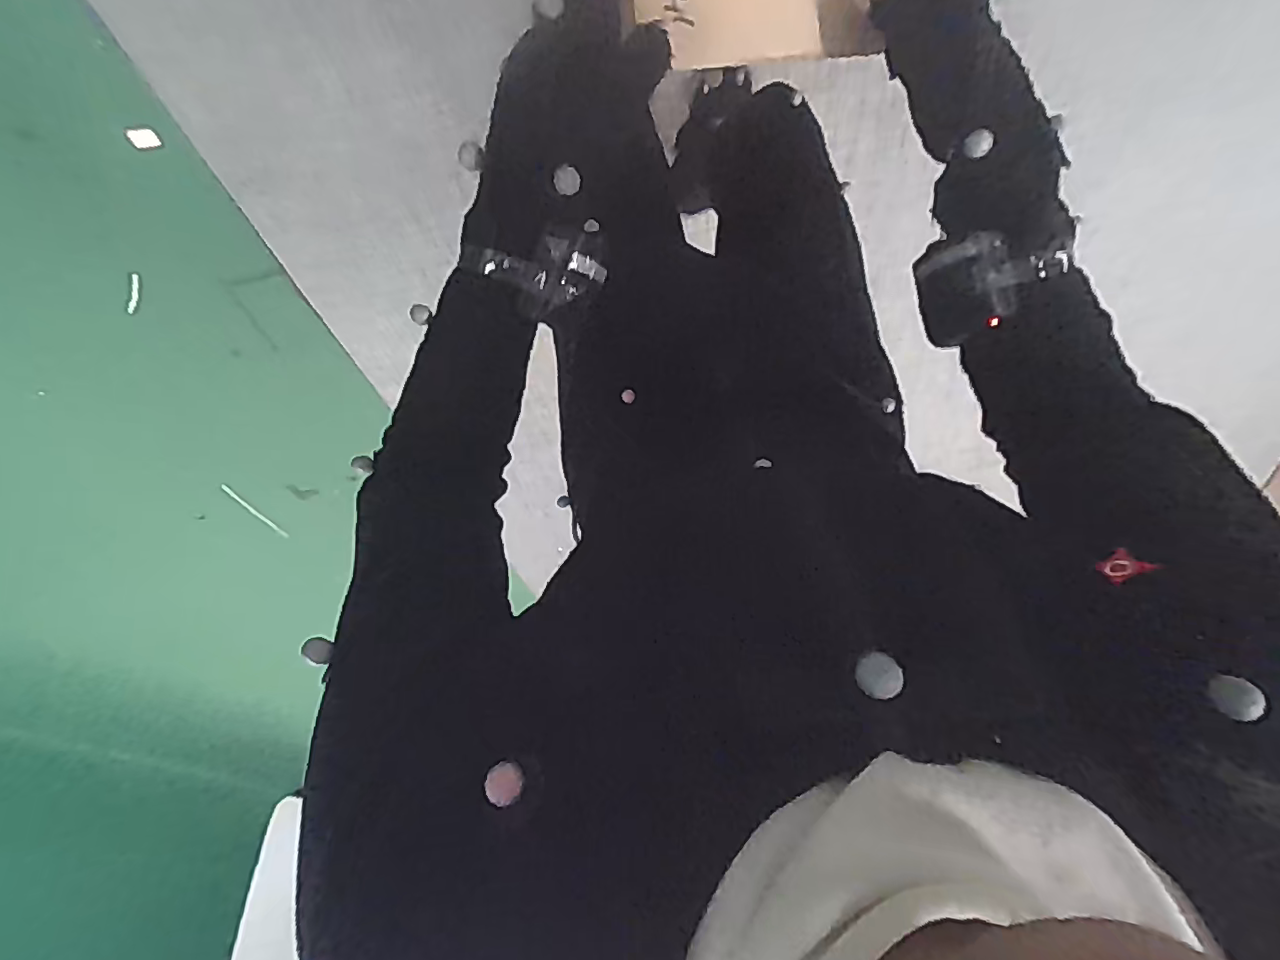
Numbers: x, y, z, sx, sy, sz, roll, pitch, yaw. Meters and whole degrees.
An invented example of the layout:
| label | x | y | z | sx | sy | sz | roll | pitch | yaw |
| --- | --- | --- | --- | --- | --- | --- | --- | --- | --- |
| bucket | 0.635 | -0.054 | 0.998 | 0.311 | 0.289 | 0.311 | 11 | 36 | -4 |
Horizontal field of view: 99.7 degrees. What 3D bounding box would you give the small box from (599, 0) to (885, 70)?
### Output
| label | x | y | z | sx | sy | sz | roll | pitch | yaw |
| --- | --- | --- | --- | --- | --- | --- | --- | --- | --- |
| small box | 0.065 | -0.401 | 0.385 | 0.179 | 0.176 | 0.168 | -8 | 128 | -6 |
